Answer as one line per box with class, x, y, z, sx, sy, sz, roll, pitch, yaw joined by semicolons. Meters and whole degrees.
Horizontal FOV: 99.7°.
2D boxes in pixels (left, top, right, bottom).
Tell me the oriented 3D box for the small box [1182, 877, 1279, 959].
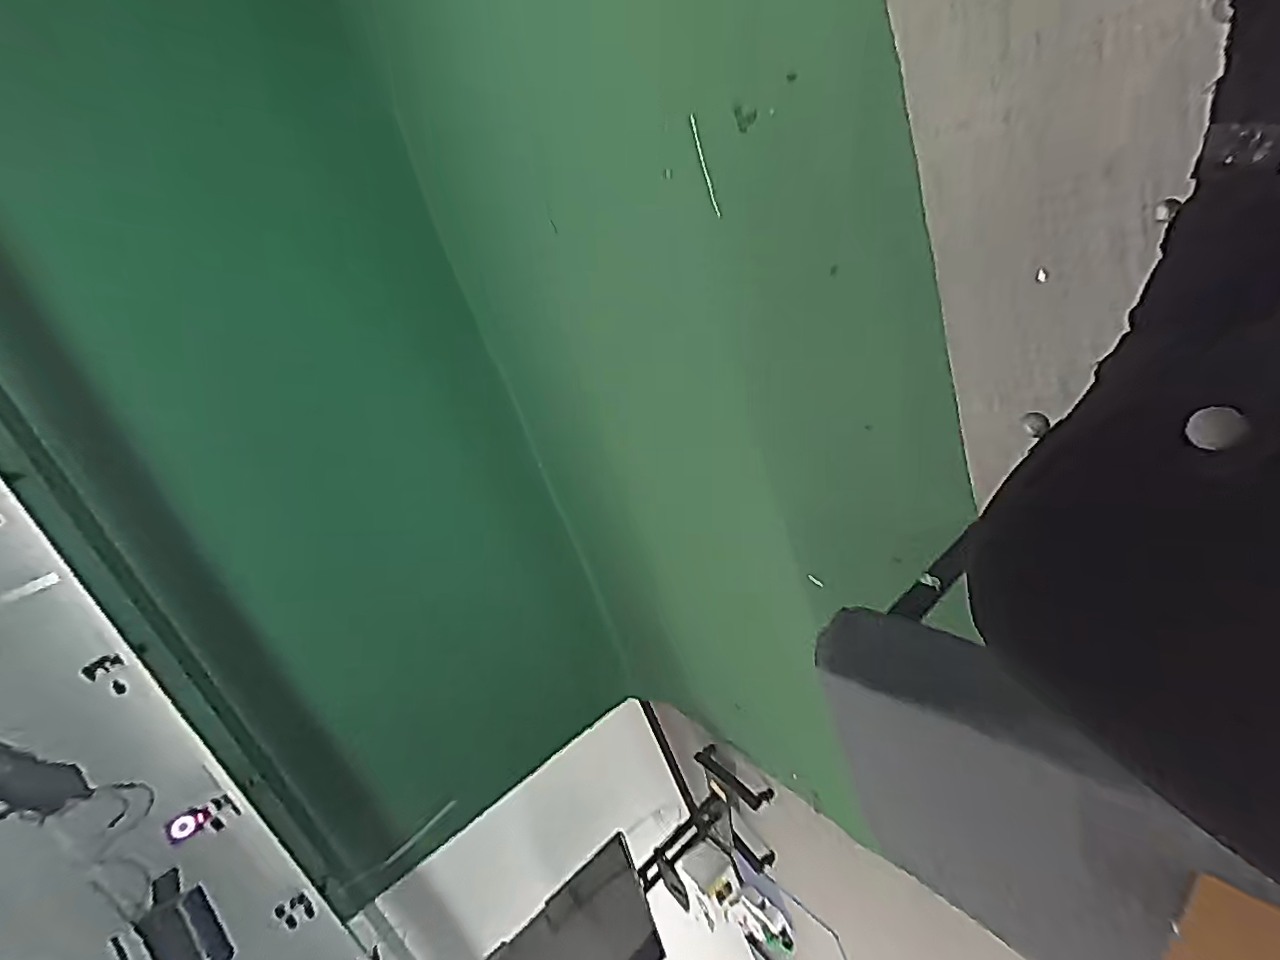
small box;0.796;0.649;0.659;0.179;0.176;0.168;9;123;57
